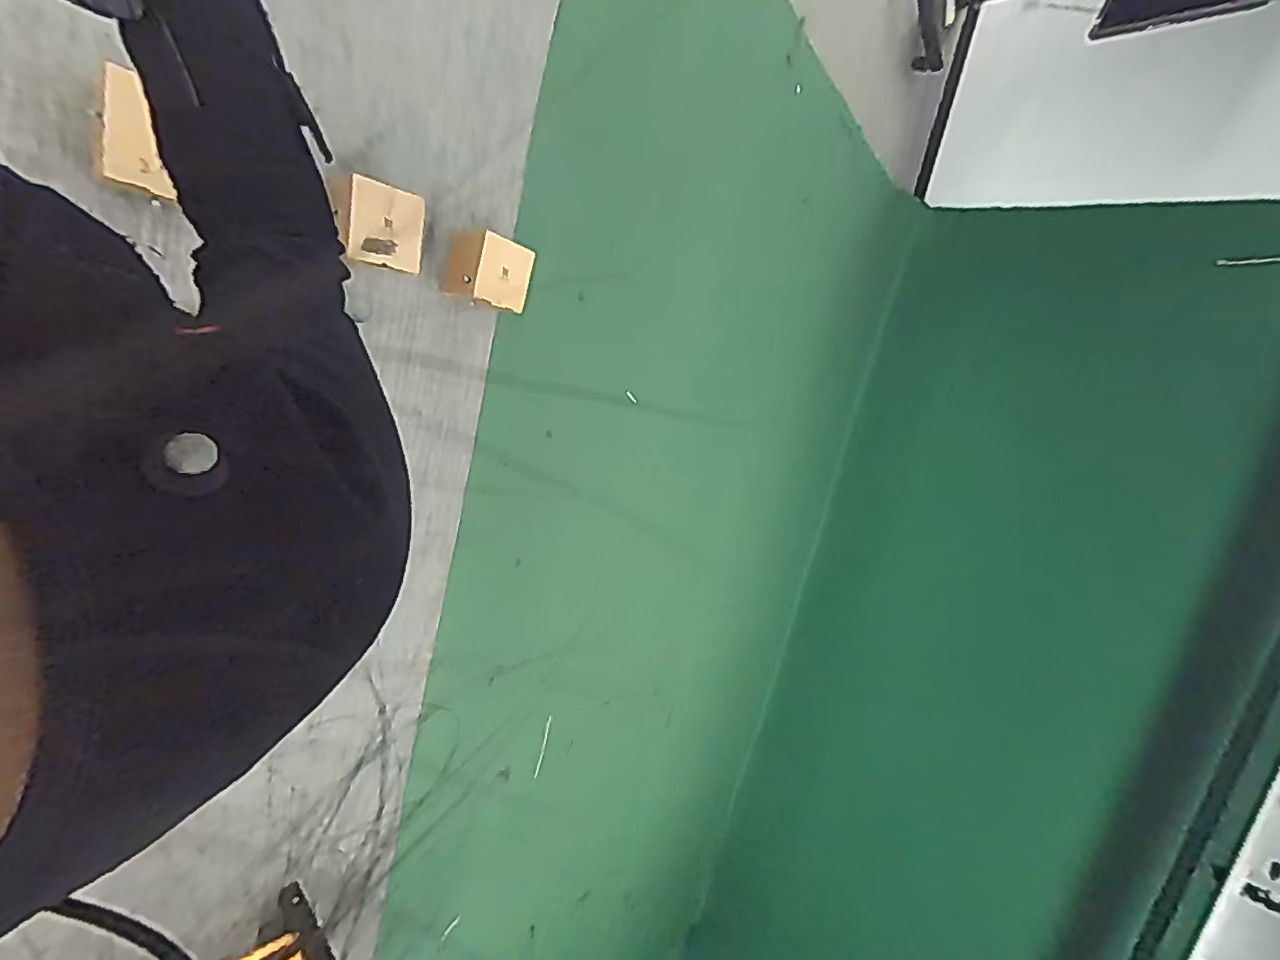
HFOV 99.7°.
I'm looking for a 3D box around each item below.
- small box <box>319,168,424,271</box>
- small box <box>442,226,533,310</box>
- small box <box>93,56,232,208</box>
[{"bbox_3d":[-0.637,-0.607,1.276,0.168,0.176,0.179,-4,109,-50],"label":"small box"},{"bbox_3d":[-0.435,-0.599,1.529,0.168,0.176,0.179,4,104,-51],"label":"small box"},{"bbox_3d":[-0.872,-0.616,0.984,0.168,0.176,0.179,0,107,-49],"label":"small box"}]
